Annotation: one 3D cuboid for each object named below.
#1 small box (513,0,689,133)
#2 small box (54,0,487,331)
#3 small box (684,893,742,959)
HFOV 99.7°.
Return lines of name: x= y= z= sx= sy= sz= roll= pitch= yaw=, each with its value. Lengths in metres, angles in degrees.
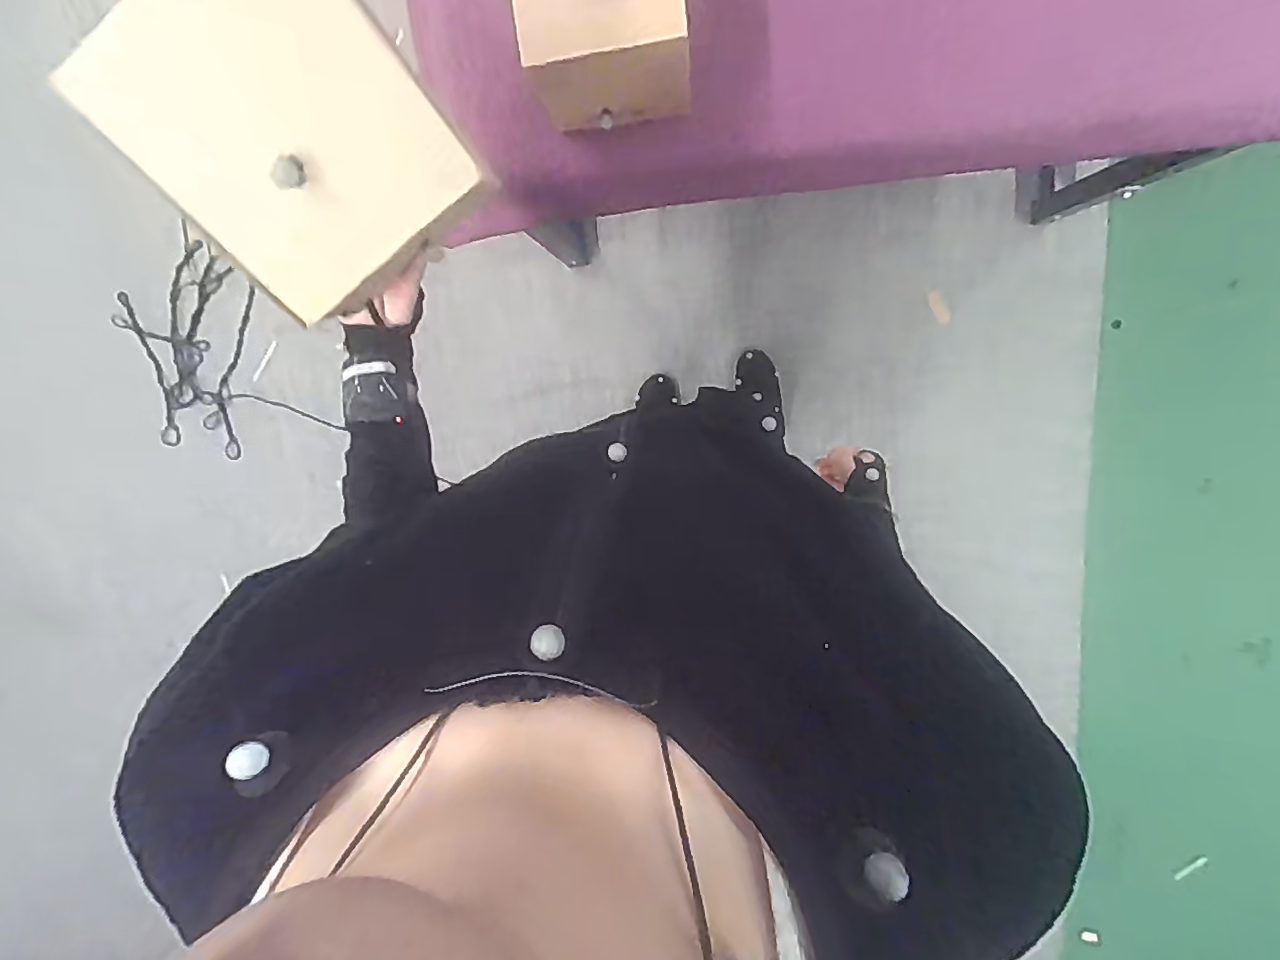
small box: x=-0.038 y=-0.511 z=0.578 sx=0.168 sy=0.176 sz=0.179 roll=-6 pitch=102 yaw=6
small box: x=-0.229 y=-0.245 z=0.397 sx=0.176 sy=0.168 sz=0.179 roll=-38 pitch=117 yaw=8
small box: x=0.223 y=1.439 z=1.689 sx=0.168 sy=0.176 sz=0.179 roll=2 pitch=102 yaw=5
